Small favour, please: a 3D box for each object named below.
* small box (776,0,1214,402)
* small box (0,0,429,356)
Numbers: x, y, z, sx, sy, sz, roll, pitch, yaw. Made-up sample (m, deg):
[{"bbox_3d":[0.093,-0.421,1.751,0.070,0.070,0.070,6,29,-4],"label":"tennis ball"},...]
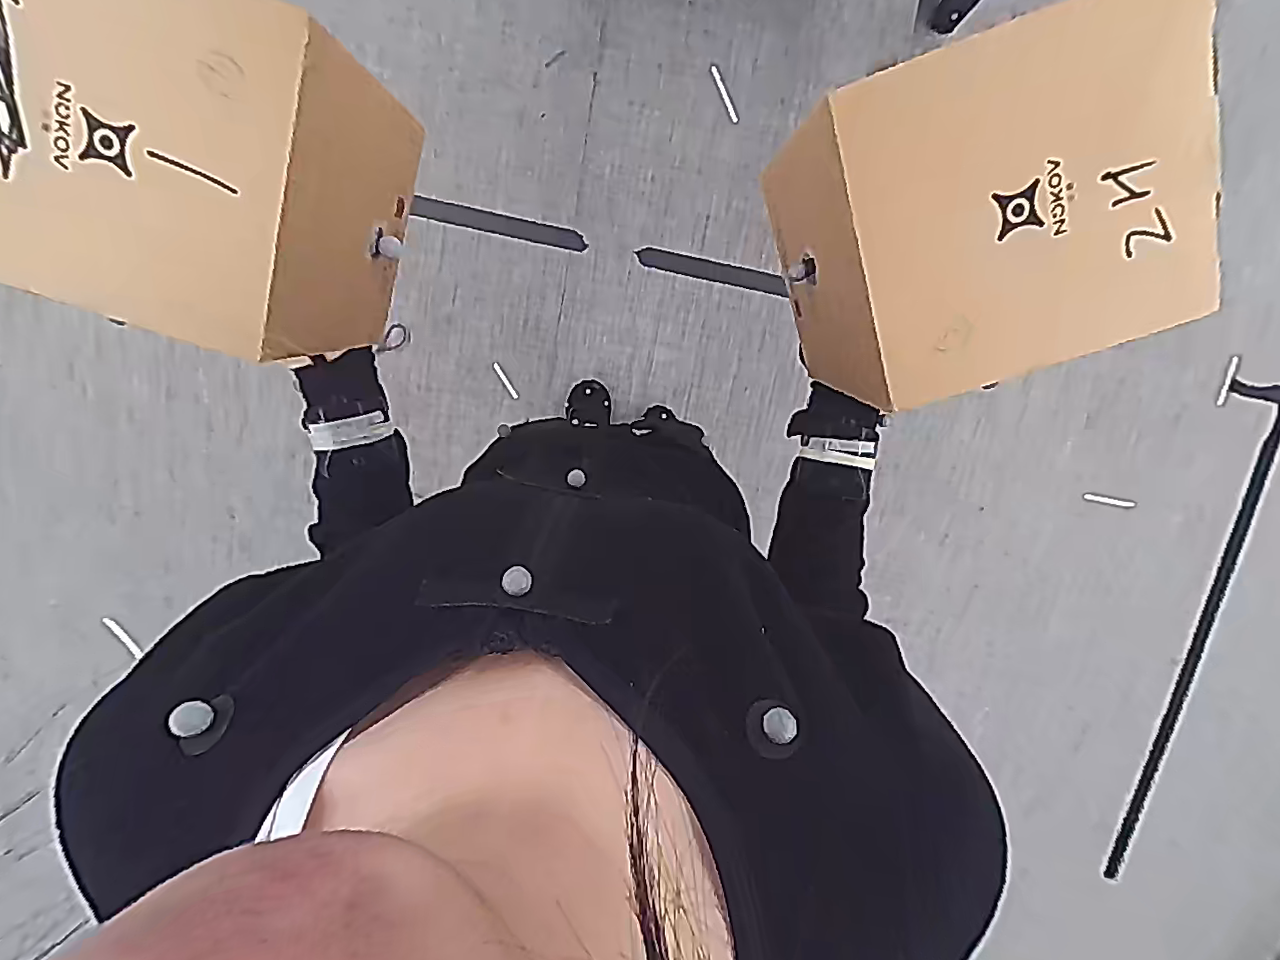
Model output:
[{"bbox_3d":[0.198,-0.163,0.350,0.179,0.176,0.168,-18,107,6],"label":"small box"},{"bbox_3d":[-0.254,-0.186,0.327,0.179,0.176,0.168,18,106,-10],"label":"small box"}]
